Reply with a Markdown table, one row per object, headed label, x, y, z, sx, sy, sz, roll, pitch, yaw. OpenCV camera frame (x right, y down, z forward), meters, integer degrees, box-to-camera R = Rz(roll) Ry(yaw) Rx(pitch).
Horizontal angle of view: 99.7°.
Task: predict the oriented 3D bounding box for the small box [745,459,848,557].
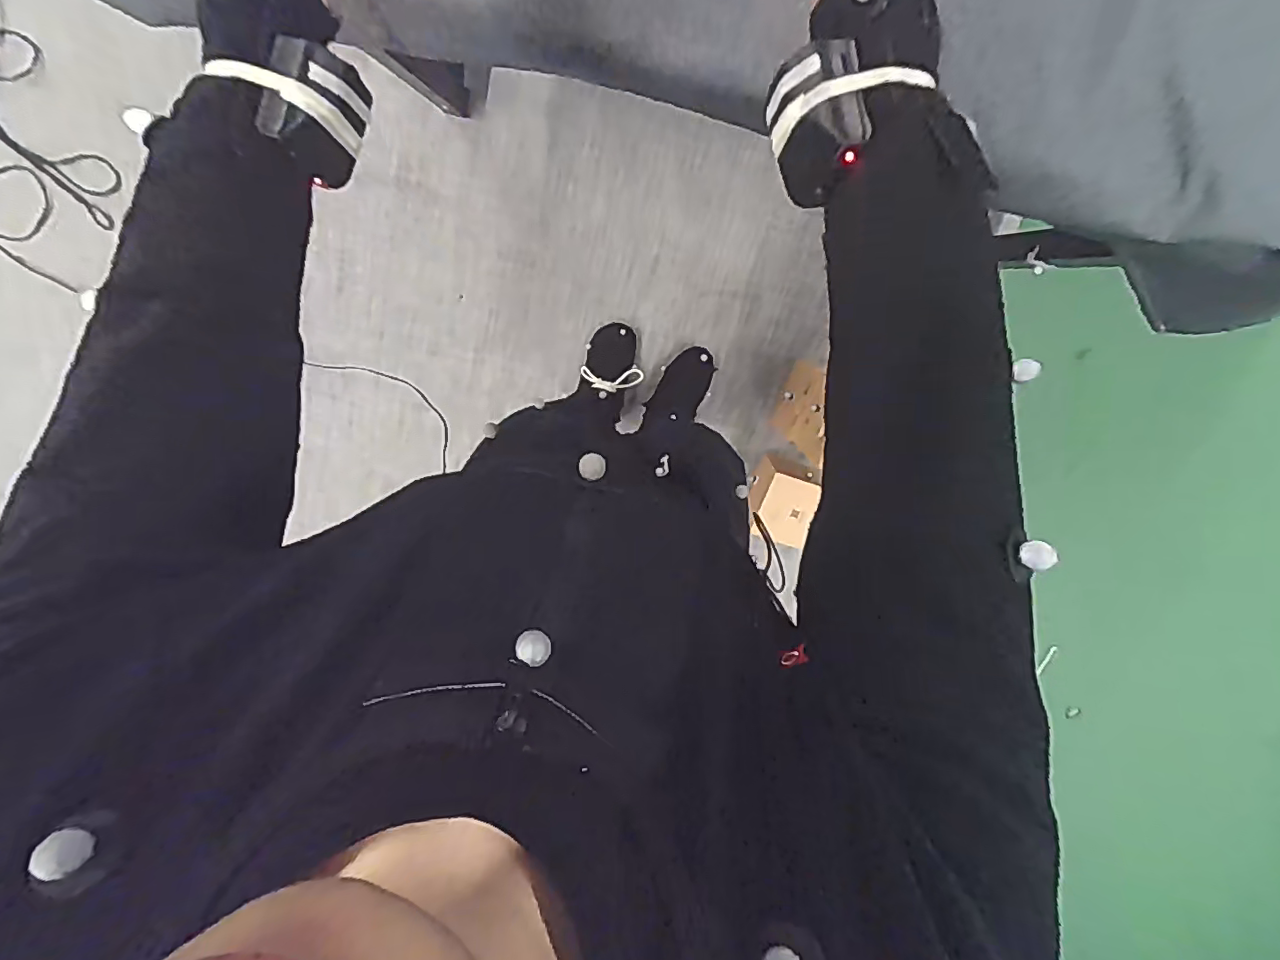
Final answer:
| label | x | y | z | sx | sy | sz | roll | pitch | yaw |
| --- | --- | --- | --- | --- | --- | --- | --- | --- | --- |
| small box | 0.375 | 0.062 | 1.332 | 0.179 | 0.176 | 0.168 | 17 | 109 | -3 |

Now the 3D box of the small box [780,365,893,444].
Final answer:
| label | x | y | z | sx | sy | sz | roll | pitch | yaw |
| --- | --- | --- | --- | --- | --- | --- | --- | --- | --- |
| small box | 0.440 | -0.162 | 1.247 | 0.179 | 0.176 | 0.168 | 14 | 109 | -3 |

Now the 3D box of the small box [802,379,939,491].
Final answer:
| label | x | y | z | sx | sy | sz | roll | pitch | yaw |
| --- | --- | --- | --- | --- | --- | --- | --- | --- | --- |
| small box | 0.454 | -0.099 | 1.095 | 0.179 | 0.176 | 0.168 | 13 | 110 | -3 |
